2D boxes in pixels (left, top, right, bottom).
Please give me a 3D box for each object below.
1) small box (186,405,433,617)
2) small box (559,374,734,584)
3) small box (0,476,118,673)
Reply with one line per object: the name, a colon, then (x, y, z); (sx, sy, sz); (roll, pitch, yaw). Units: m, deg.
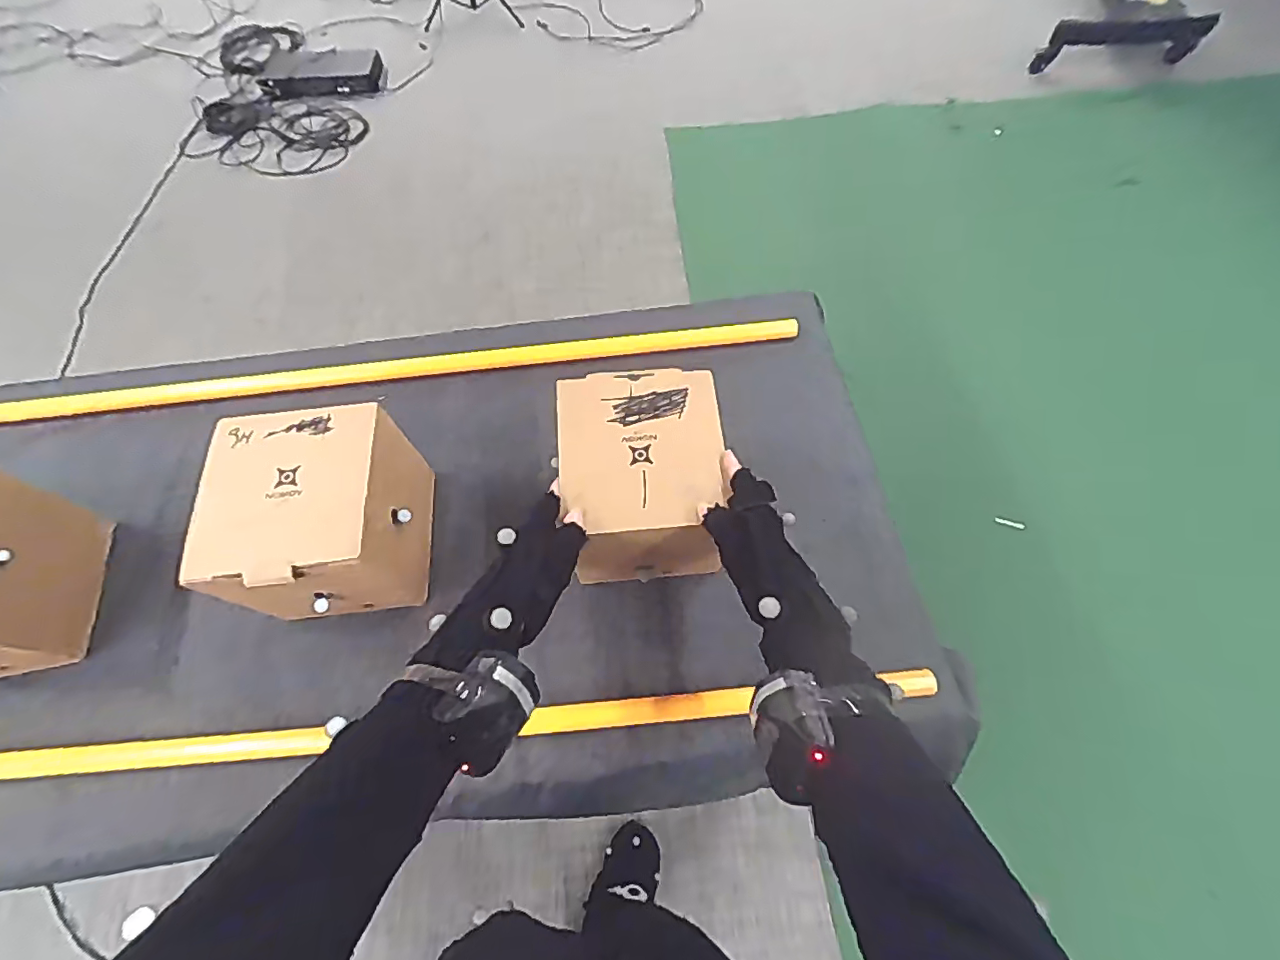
small box: (-0.341, 0.045, 0.600); (0.168, 0.176, 0.179); (-10, 63, -2)
small box: (0.002, 0.005, 0.607); (0.168, 0.176, 0.179); (-5, 65, -1)
small box: (-0.720, 0.111, 0.575); (0.168, 0.176, 0.179); (-10, 63, -6)
